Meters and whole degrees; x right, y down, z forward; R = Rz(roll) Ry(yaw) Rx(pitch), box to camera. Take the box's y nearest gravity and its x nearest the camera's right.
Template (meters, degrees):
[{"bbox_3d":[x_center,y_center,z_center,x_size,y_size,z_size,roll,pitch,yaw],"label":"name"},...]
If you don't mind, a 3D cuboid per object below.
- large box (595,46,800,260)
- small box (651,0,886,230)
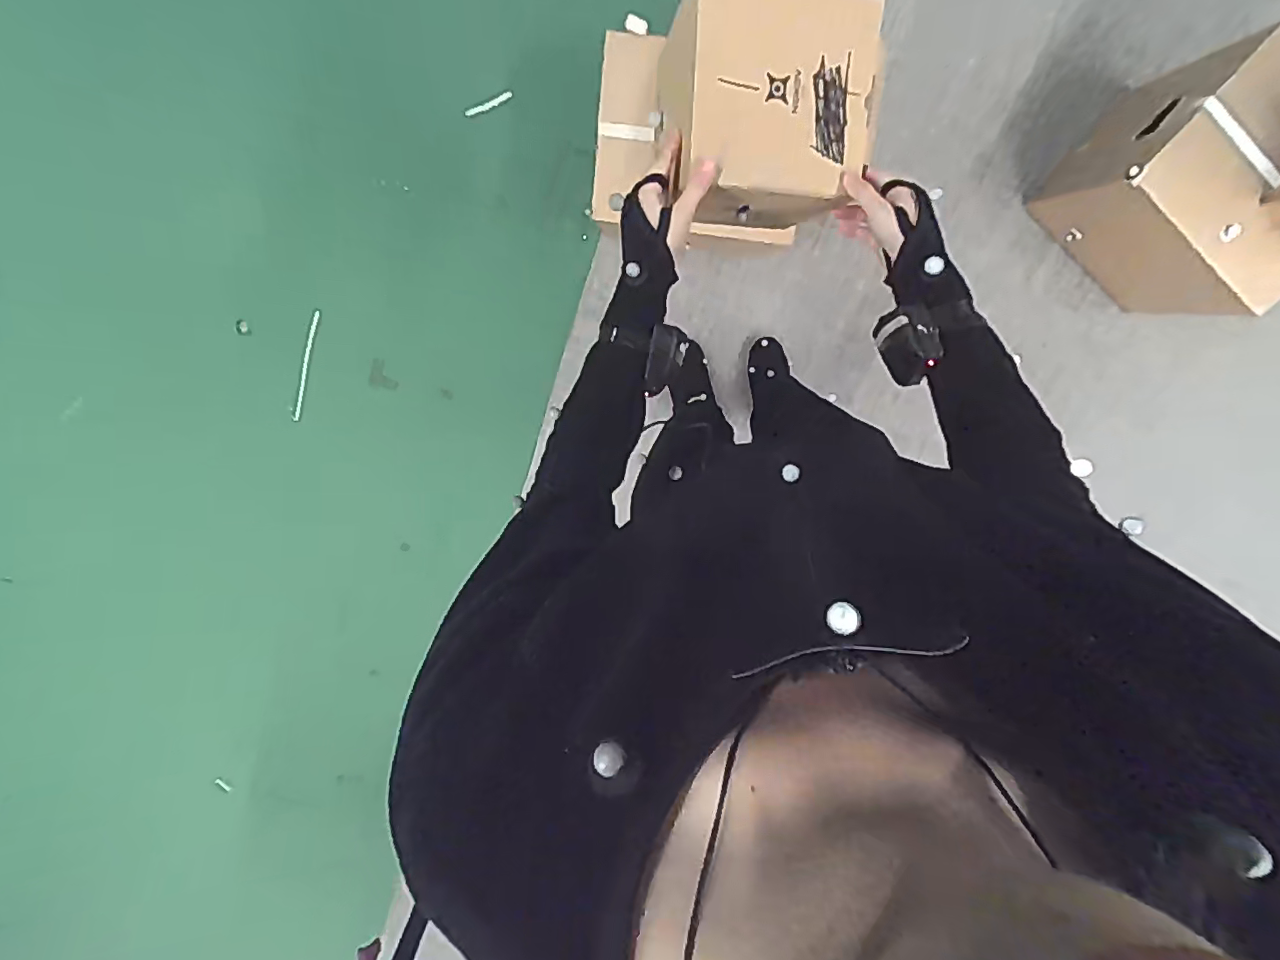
[{"bbox_3d":[0.133,-0.664,1.158,0.408,0.320,0.320,8,107,1],"label":"large box"},{"bbox_3d":[0.117,-0.366,0.562,0.179,0.176,0.168,0,105,-11],"label":"small box"}]
